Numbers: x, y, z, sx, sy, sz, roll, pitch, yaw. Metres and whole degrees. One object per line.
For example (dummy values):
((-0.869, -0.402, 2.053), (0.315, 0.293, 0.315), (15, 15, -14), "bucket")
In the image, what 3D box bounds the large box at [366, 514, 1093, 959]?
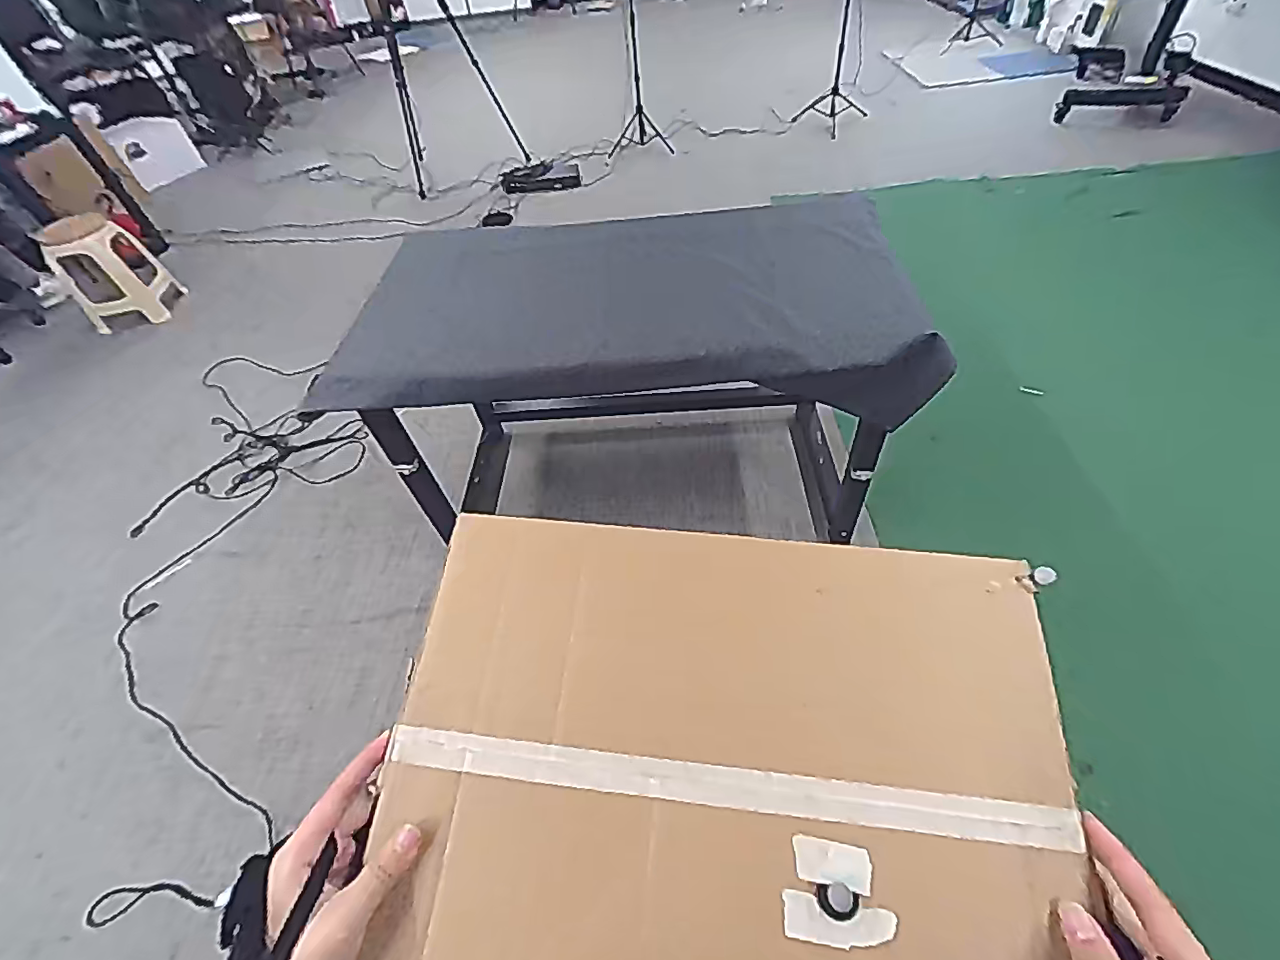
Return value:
((0.059, 0.241, 0.473), (0.408, 0.320, 0.320), (4, 65, 5), "large box")
